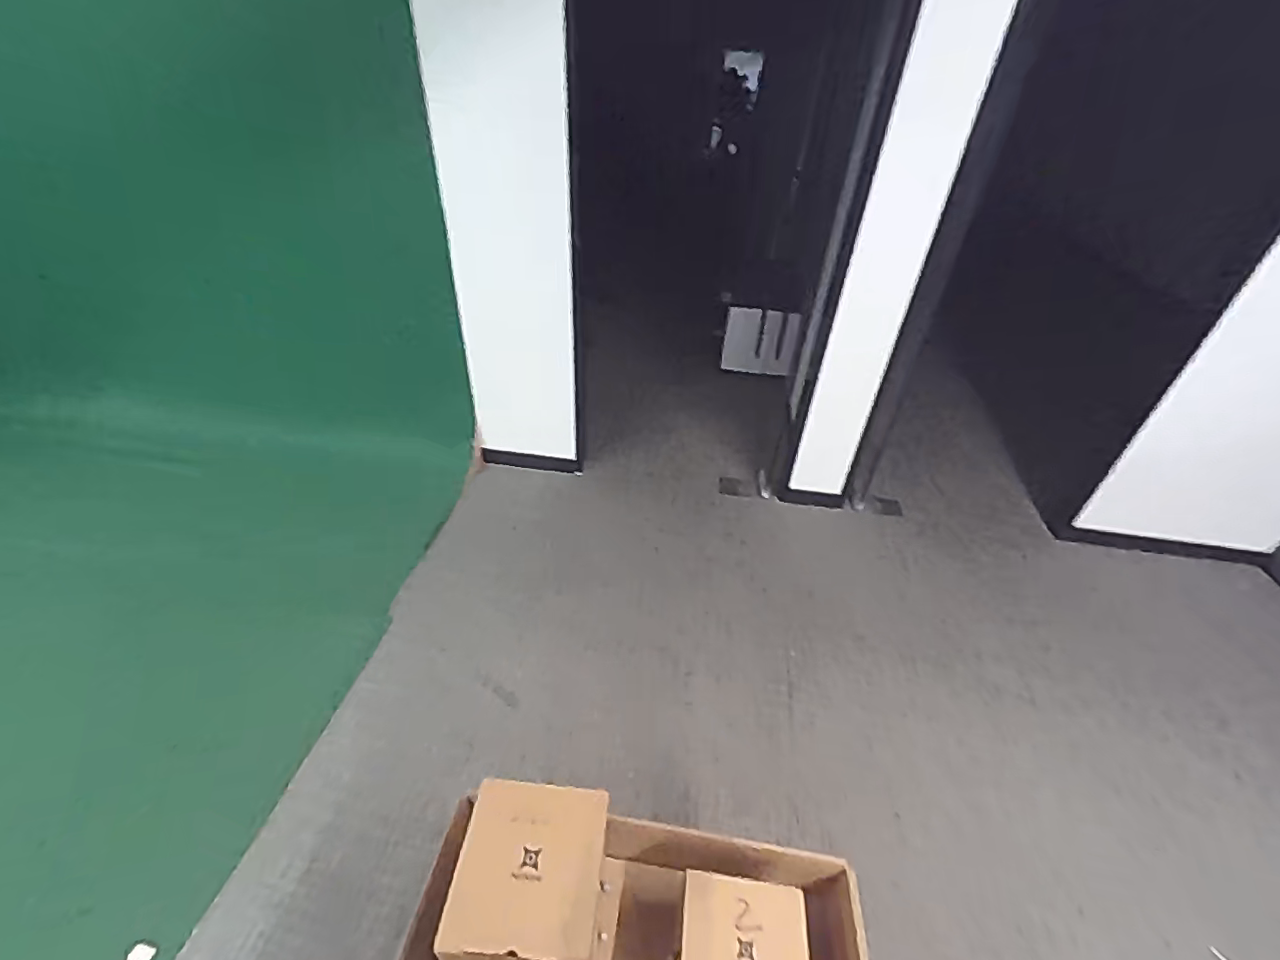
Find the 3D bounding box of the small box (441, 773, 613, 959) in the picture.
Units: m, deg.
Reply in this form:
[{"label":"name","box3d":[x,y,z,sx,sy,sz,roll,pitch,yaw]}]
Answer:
[{"label":"small box","box3d":[-0.125,0.503,0.677,0.168,0.176,0.179,6,37,2]}]
